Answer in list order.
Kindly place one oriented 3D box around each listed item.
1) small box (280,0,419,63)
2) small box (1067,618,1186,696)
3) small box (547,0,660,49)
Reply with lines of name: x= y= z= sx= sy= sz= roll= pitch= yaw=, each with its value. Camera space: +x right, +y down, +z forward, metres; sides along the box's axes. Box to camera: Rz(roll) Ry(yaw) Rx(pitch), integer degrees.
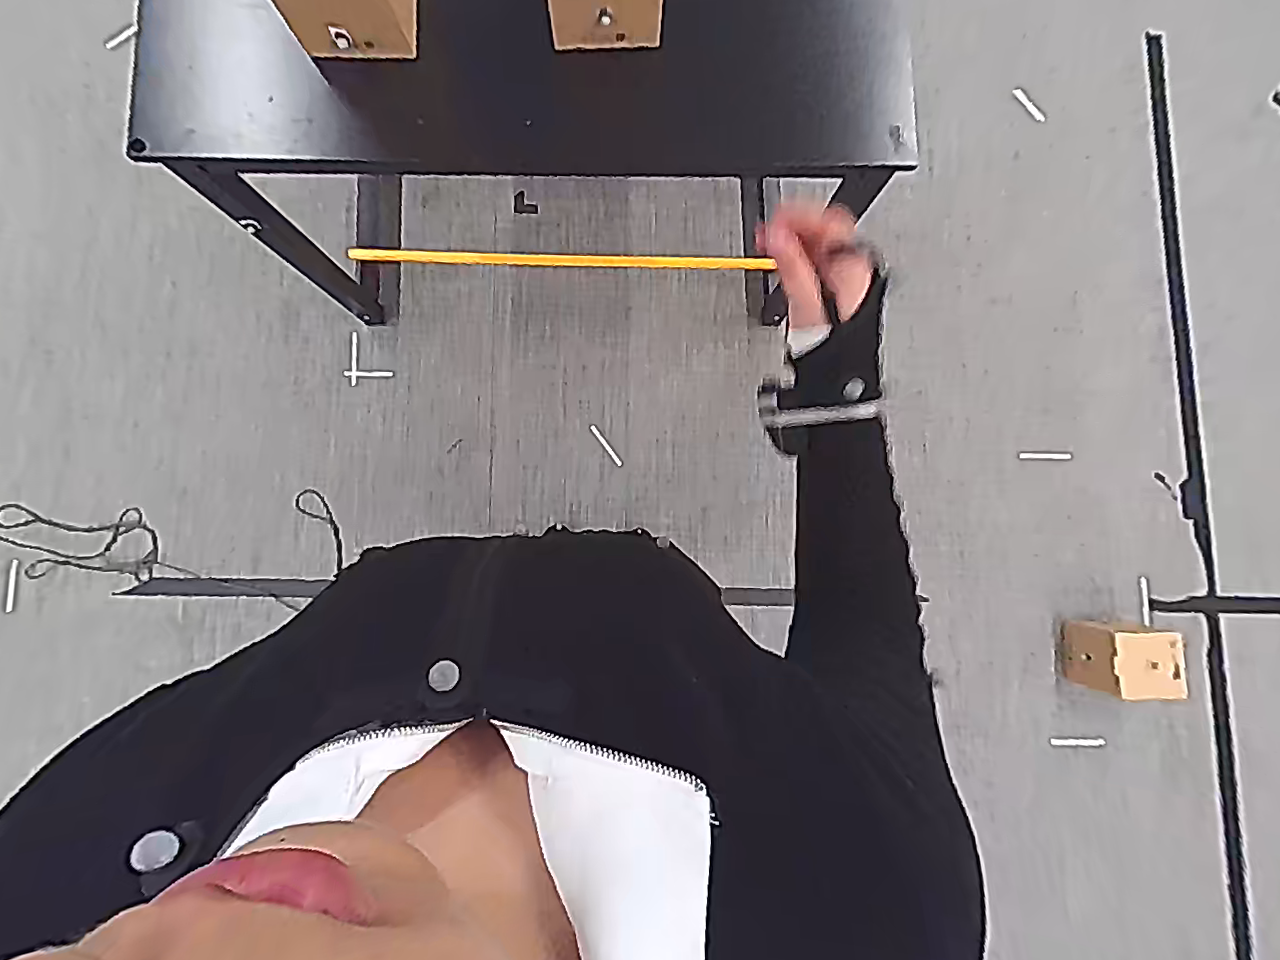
small box: x=-0.428 y=-0.744 z=0.768 sx=0.168 sy=0.176 sz=0.179 roll=-2 pitch=86 yaw=-1
small box: x=1.281 y=0.466 z=1.439 sx=0.179 sy=0.176 sz=0.168 roll=0 pitch=85 yaw=-1
small box: x=-0.056 y=-0.774 z=0.779 sx=0.168 sy=0.176 sz=0.179 roll=-3 pitch=85 yaw=-1
